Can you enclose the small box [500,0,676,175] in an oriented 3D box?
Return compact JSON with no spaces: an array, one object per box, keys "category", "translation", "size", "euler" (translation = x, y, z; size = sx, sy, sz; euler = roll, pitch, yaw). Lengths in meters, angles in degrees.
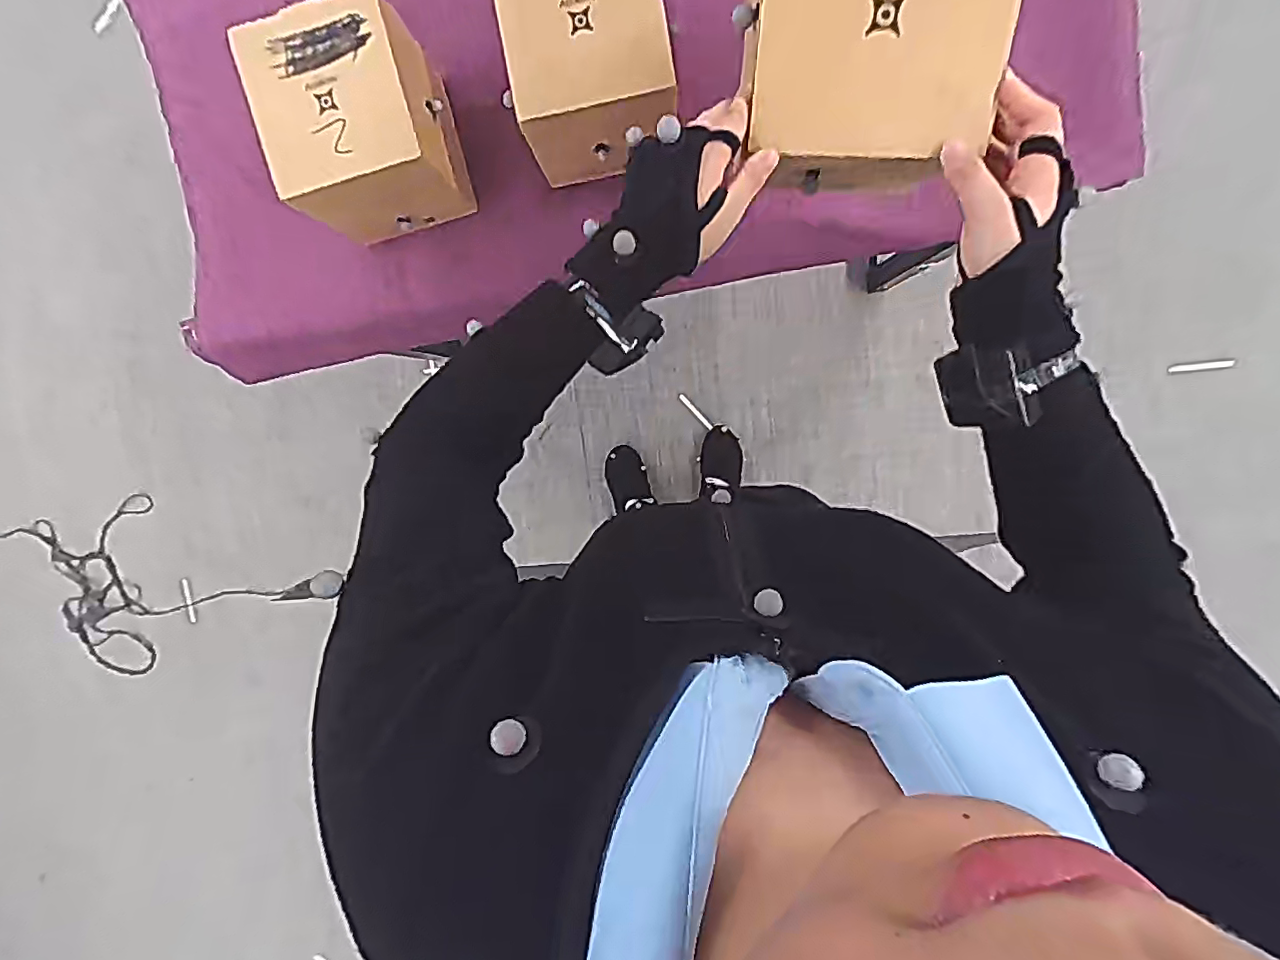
[{"category":"small box","translation":[-0.050,-0.473,0.613],"size":[0.168,0.176,0.179],"euler":[-9,96,4]}]
